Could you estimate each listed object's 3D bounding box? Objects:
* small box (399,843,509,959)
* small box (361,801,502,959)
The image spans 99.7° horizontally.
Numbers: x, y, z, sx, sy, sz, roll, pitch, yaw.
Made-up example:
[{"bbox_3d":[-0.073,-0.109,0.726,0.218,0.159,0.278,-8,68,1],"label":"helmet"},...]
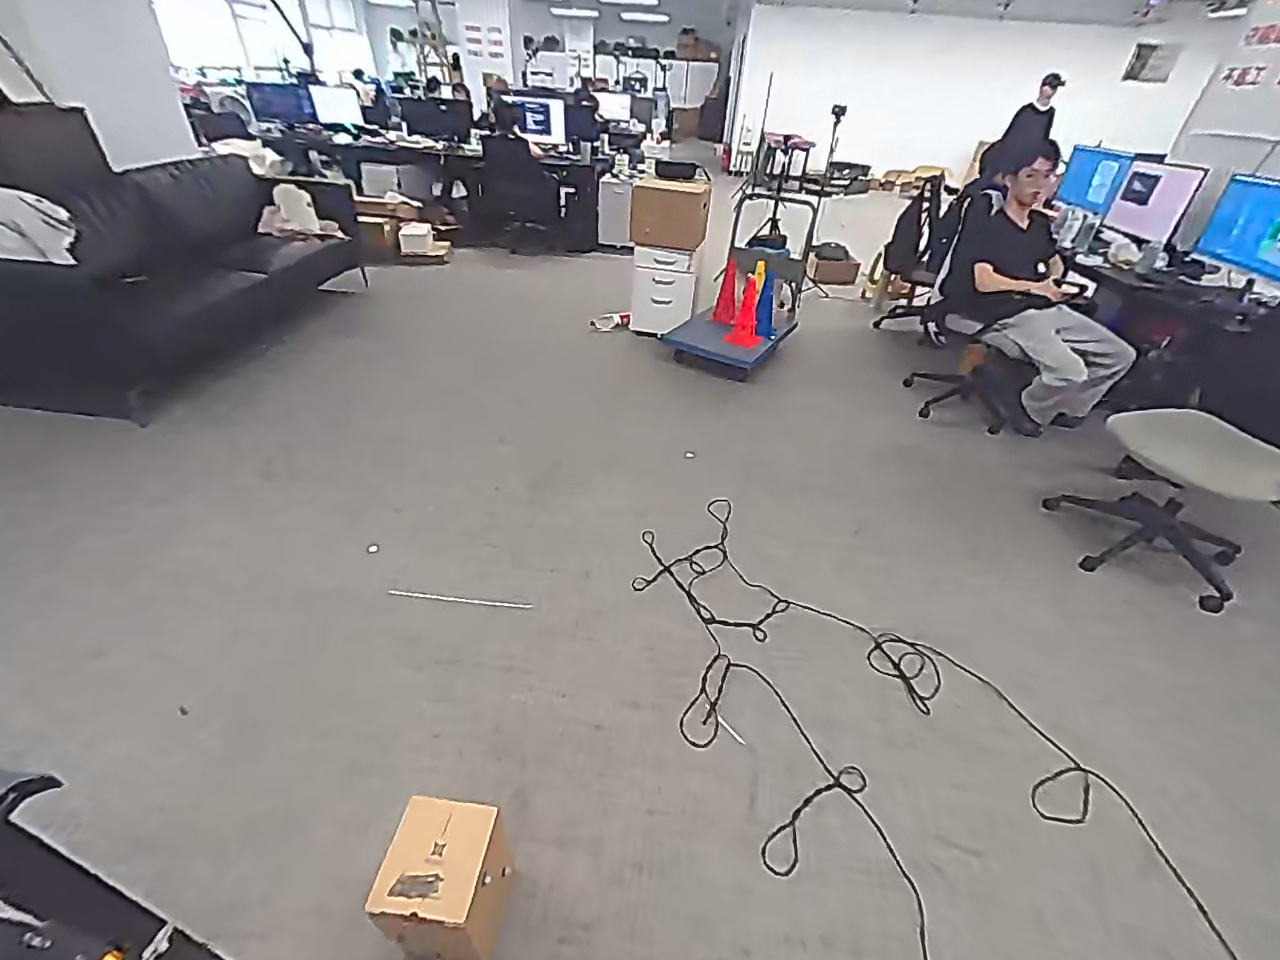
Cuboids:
[{"bbox_3d":[-0.362,0.829,1.058,0.168,0.176,0.179,7,35,5],"label":"small box"},{"bbox_3d":[-0.351,0.704,0.952,0.168,0.176,0.179,6,35,3],"label":"small box"}]
